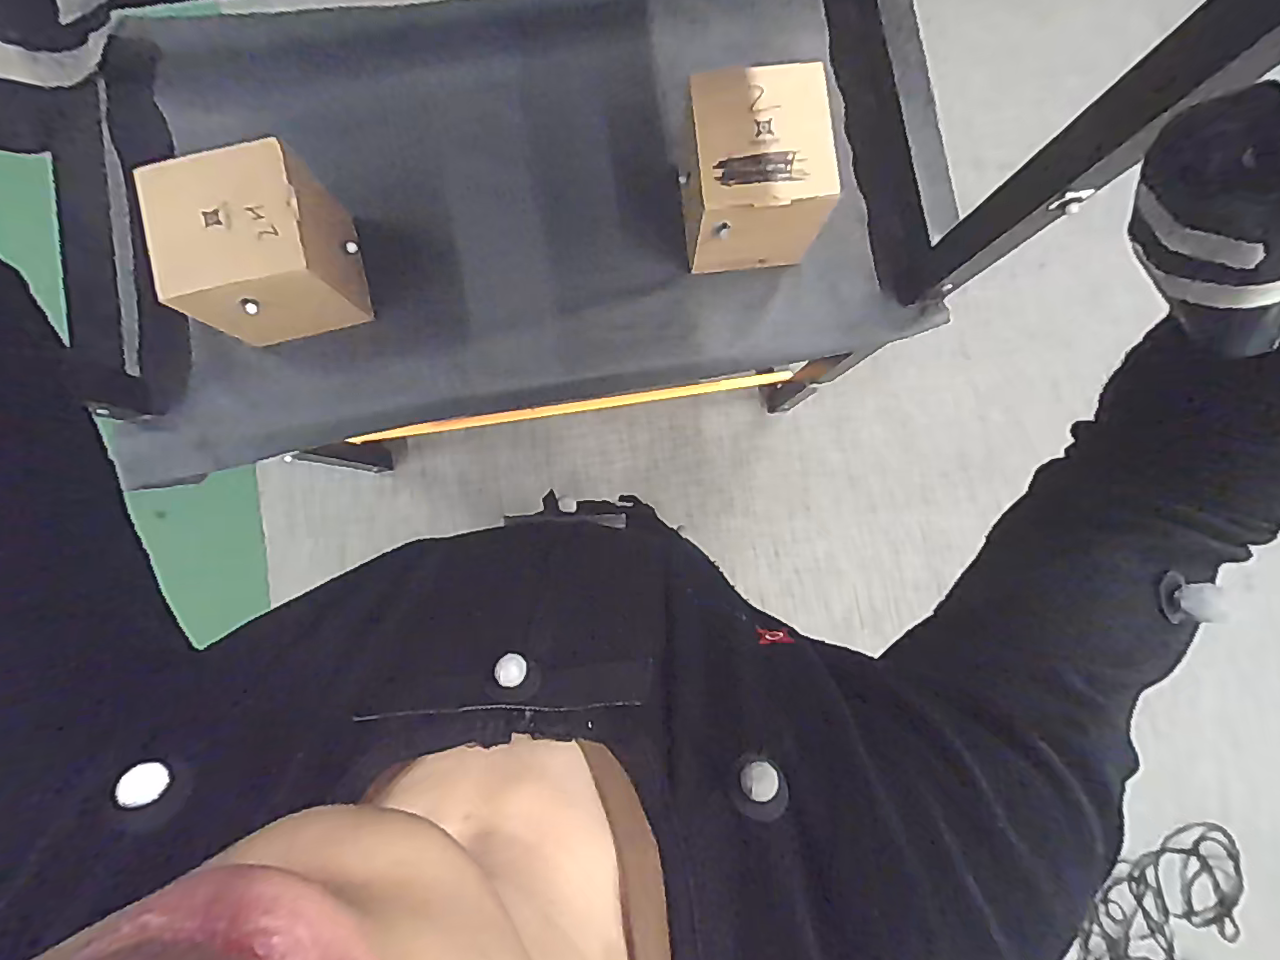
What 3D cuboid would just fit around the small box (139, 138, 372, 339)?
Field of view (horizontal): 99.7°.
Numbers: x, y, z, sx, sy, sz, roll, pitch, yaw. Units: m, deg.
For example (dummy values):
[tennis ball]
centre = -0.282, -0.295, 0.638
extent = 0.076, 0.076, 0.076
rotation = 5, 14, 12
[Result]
[small box]
centre = -0.488, -0.301, 0.711
extent = 0.179, 0.176, 0.168
rotation = -13, 87, -2
